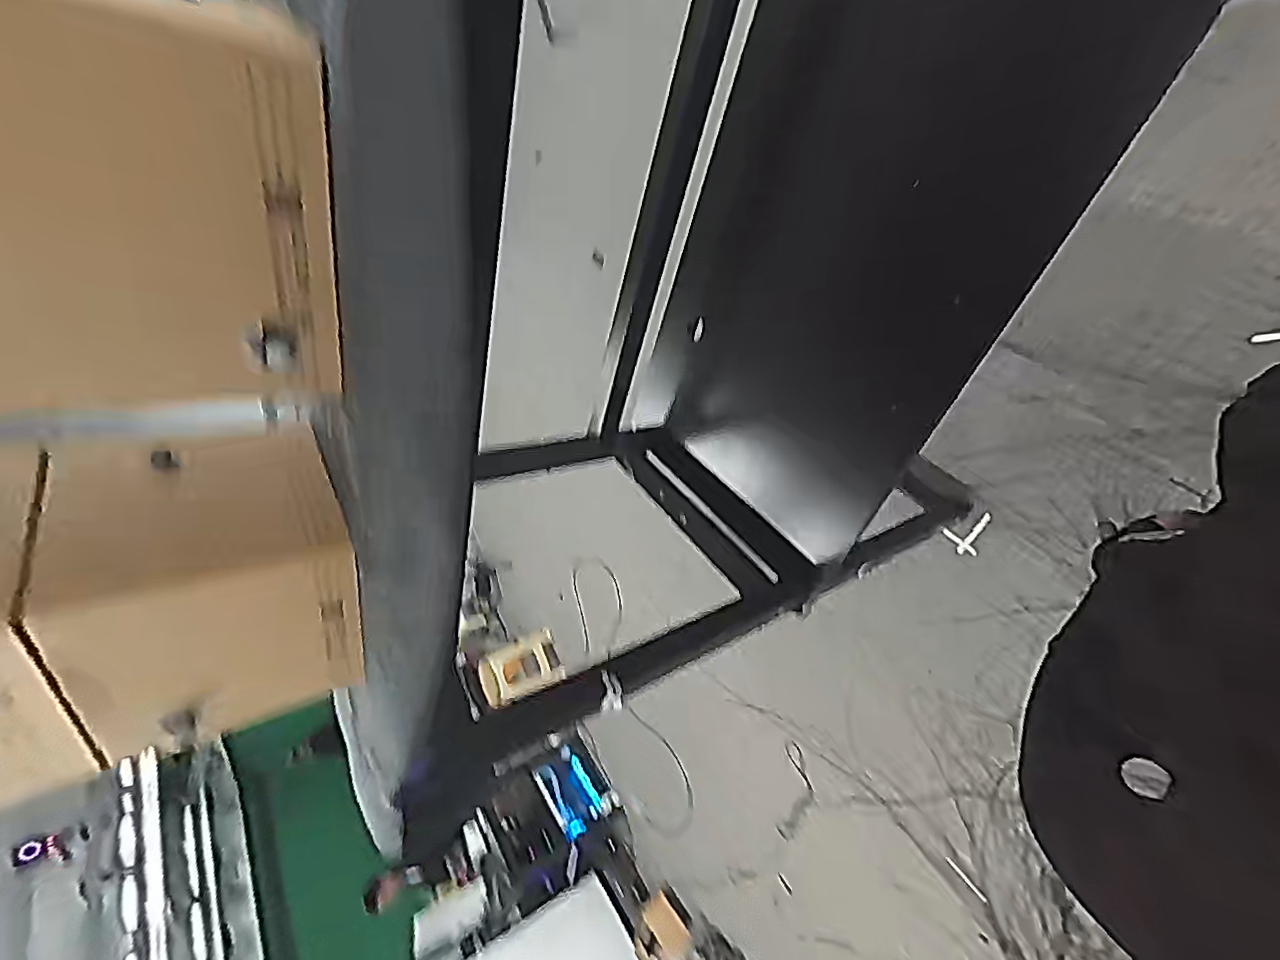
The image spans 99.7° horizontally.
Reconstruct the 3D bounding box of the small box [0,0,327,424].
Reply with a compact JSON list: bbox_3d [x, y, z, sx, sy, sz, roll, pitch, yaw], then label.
[{"bbox_3d":[-0.266,-0.148,0.272,0.179,0.176,0.168,49,135,36],"label":"small box"}]

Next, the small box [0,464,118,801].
[{"bbox_3d":[-0.464,0.106,0.339,0.179,0.176,0.168,48,135,37],"label":"small box"}]
